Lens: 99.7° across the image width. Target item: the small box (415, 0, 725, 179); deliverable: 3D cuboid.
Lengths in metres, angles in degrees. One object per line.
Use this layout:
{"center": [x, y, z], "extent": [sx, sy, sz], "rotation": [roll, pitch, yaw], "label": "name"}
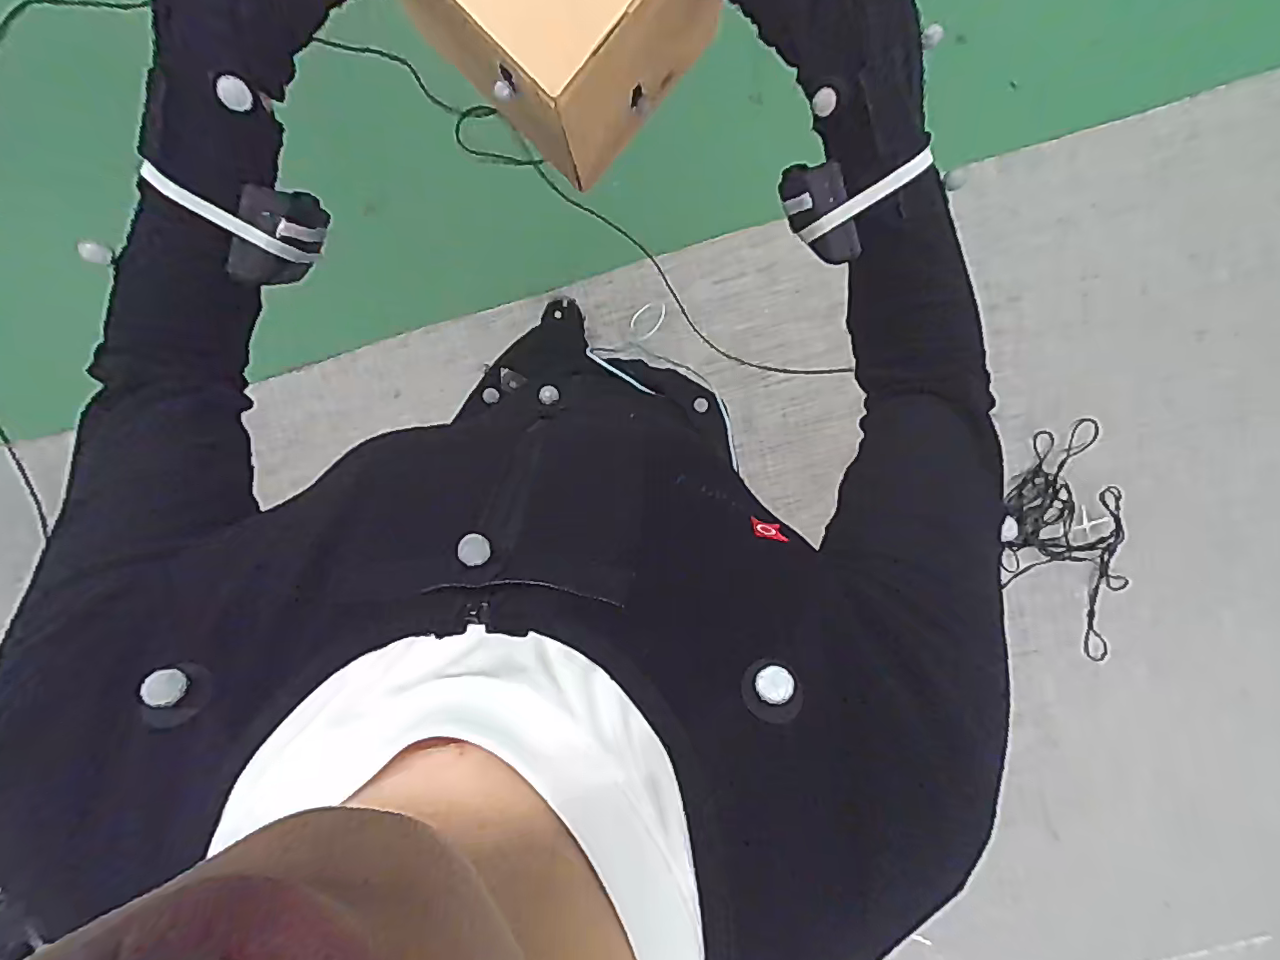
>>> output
{"center": [-0.052, -0.347, 0.364], "extent": [0.179, 0.176, 0.168], "rotation": [43, 98, -11], "label": "small box"}
